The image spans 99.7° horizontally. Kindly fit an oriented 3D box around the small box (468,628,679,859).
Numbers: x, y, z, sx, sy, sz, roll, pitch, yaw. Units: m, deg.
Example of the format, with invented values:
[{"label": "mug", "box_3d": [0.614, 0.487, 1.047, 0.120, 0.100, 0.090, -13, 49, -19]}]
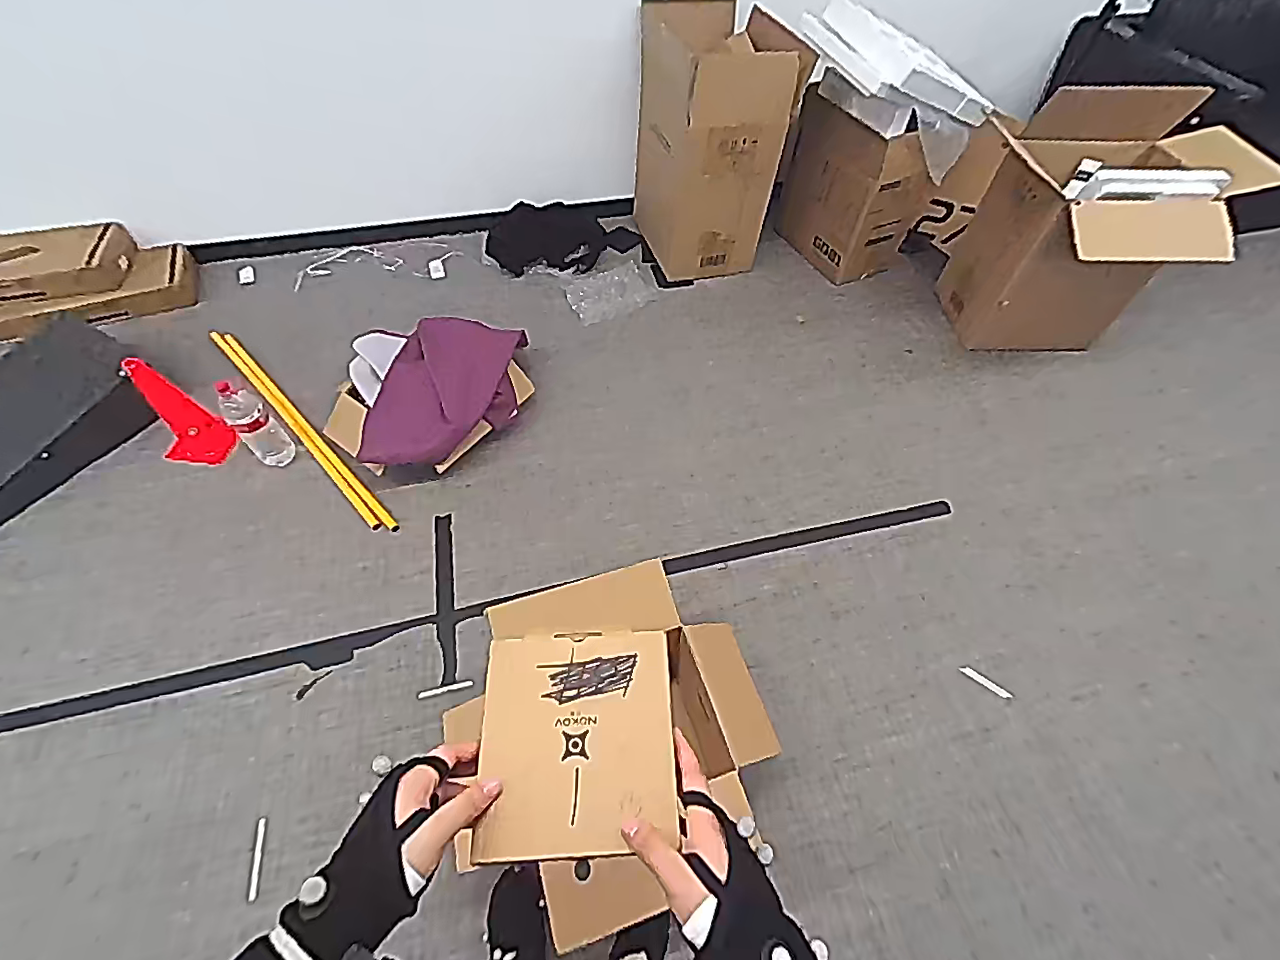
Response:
[{"label": "small box", "box_3d": [-0.054, 0.261, 0.530, 0.168, 0.176, 0.179, -3, 55, -1]}]
